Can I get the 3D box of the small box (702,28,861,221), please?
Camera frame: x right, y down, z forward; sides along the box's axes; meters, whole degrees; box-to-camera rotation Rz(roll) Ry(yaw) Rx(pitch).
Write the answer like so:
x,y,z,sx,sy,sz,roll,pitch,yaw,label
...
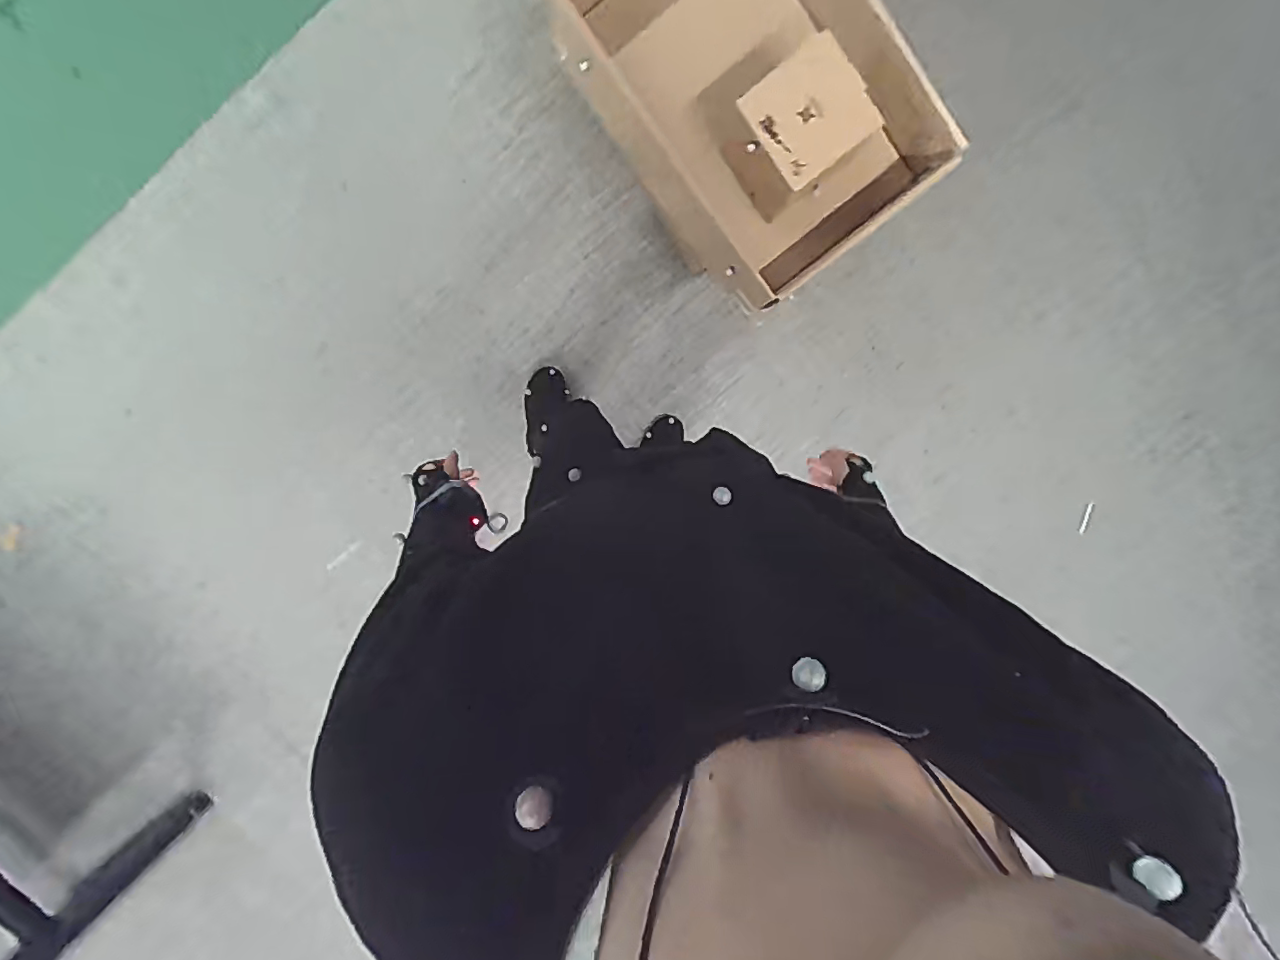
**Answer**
x,y,z,sx,sy,sz,roll,pitch,yaw,label
0.223,-0.578,0.907,0.179,0.176,0.168,-41,96,4,small box
